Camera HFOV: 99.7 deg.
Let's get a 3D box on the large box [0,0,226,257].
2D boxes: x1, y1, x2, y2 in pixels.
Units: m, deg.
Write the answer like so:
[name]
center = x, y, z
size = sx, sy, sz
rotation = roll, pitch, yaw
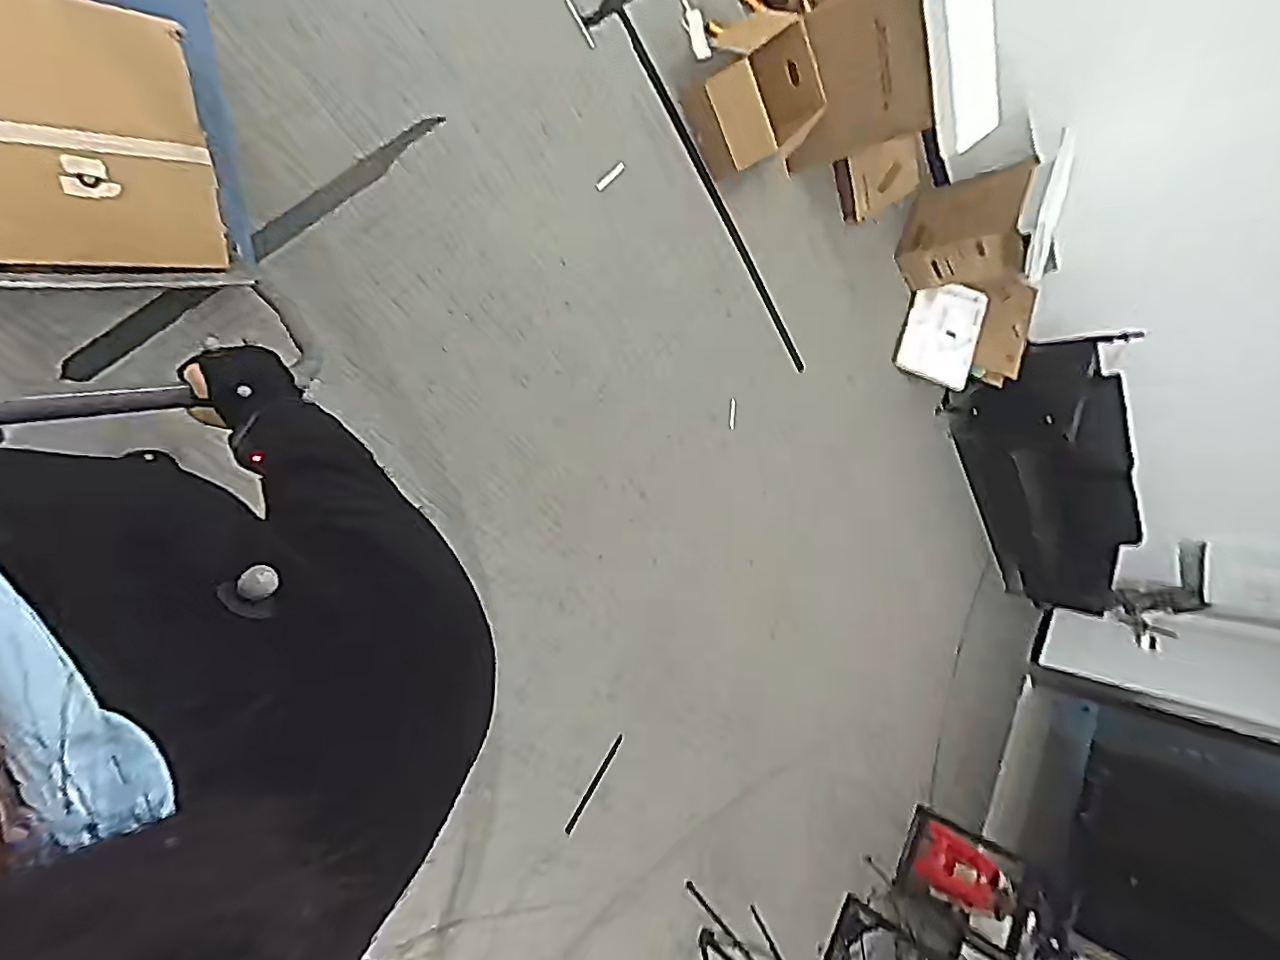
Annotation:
[large box]
center = -0.894, -0.499, 0.766
size = 0.408, 0.320, 0.320
rotation = -18, 124, -40
